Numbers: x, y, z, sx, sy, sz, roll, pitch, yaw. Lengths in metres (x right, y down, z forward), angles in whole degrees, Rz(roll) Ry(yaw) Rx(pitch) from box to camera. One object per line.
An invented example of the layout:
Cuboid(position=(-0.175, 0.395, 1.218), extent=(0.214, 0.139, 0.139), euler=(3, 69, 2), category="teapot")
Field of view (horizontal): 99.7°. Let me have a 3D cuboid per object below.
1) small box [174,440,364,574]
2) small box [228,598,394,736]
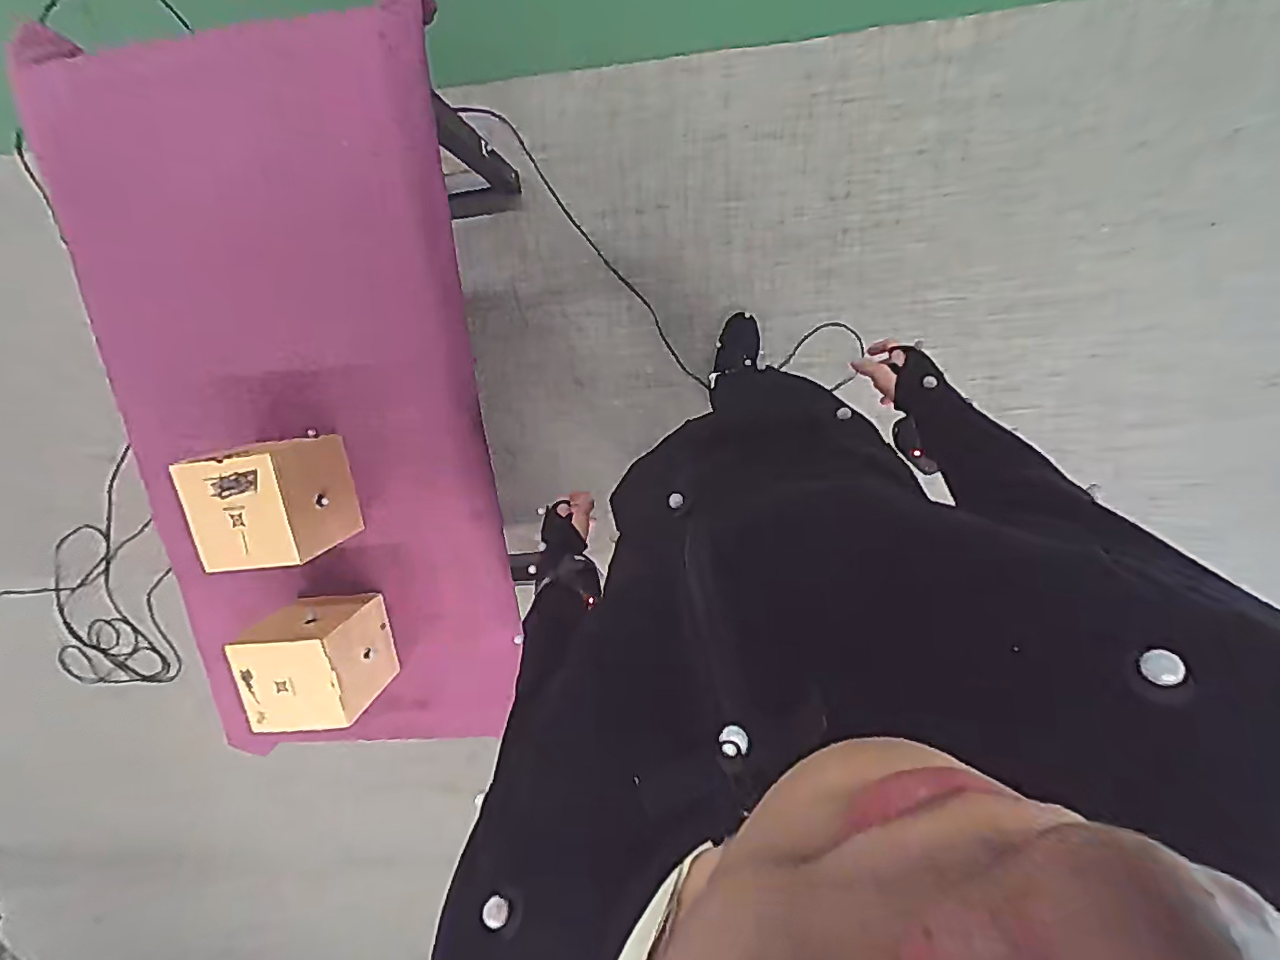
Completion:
Cuboid(position=(-0.584, 0.034, 0.878), extent=(0.168, 0.176, 0.179), euler=(-5, 104, 7), category="small box")
Cuboid(position=(-0.555, 0.317, 0.944), extent=(0.179, 0.176, 0.168), euler=(-6, 102, 6), category="small box")
